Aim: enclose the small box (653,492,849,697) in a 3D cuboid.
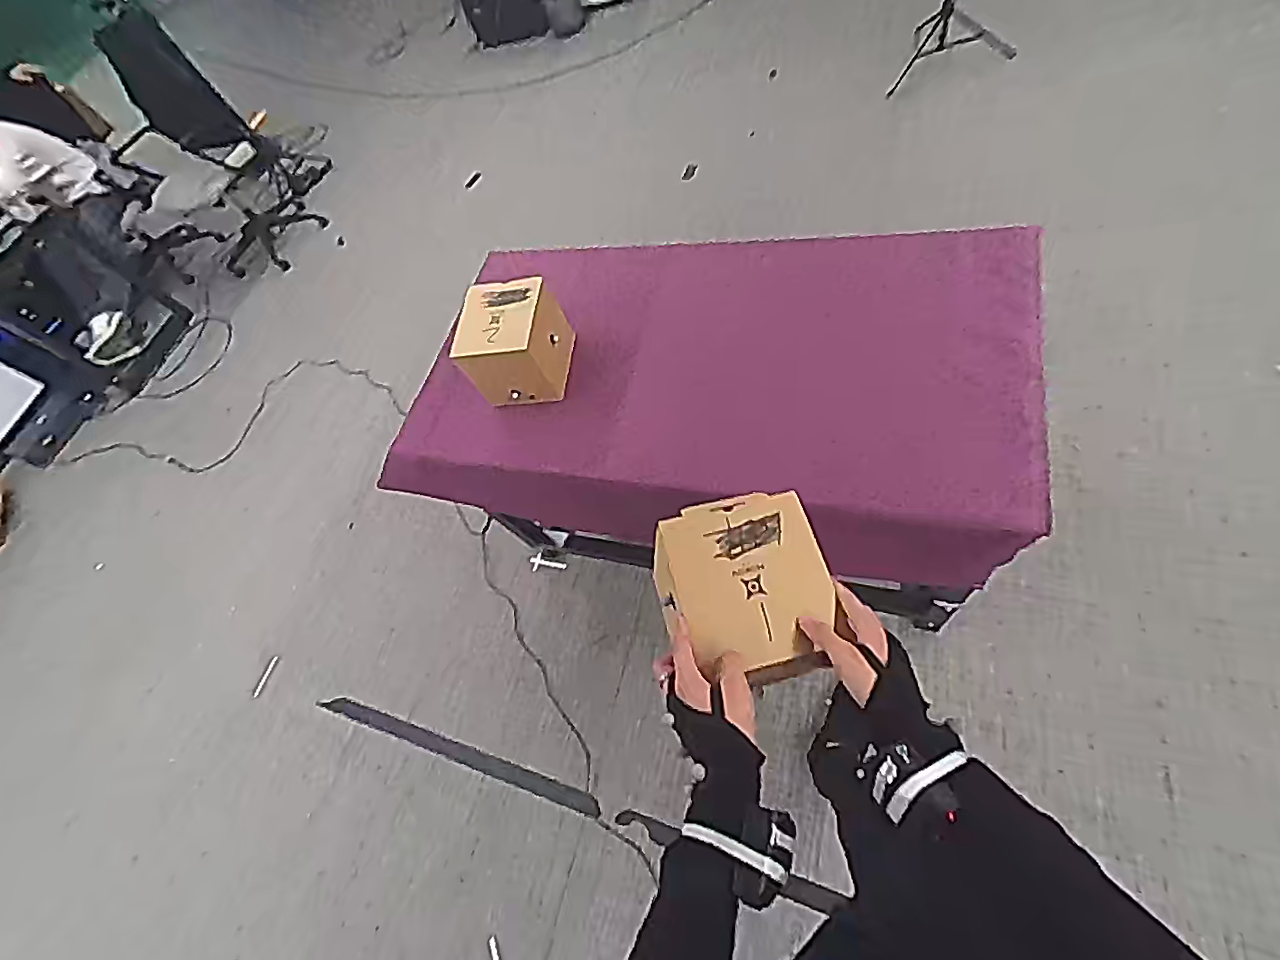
[{"bbox_3d":[0.115,0.143,0.653,0.168,0.176,0.179,-13,61,-7],"label":"small box"}]
